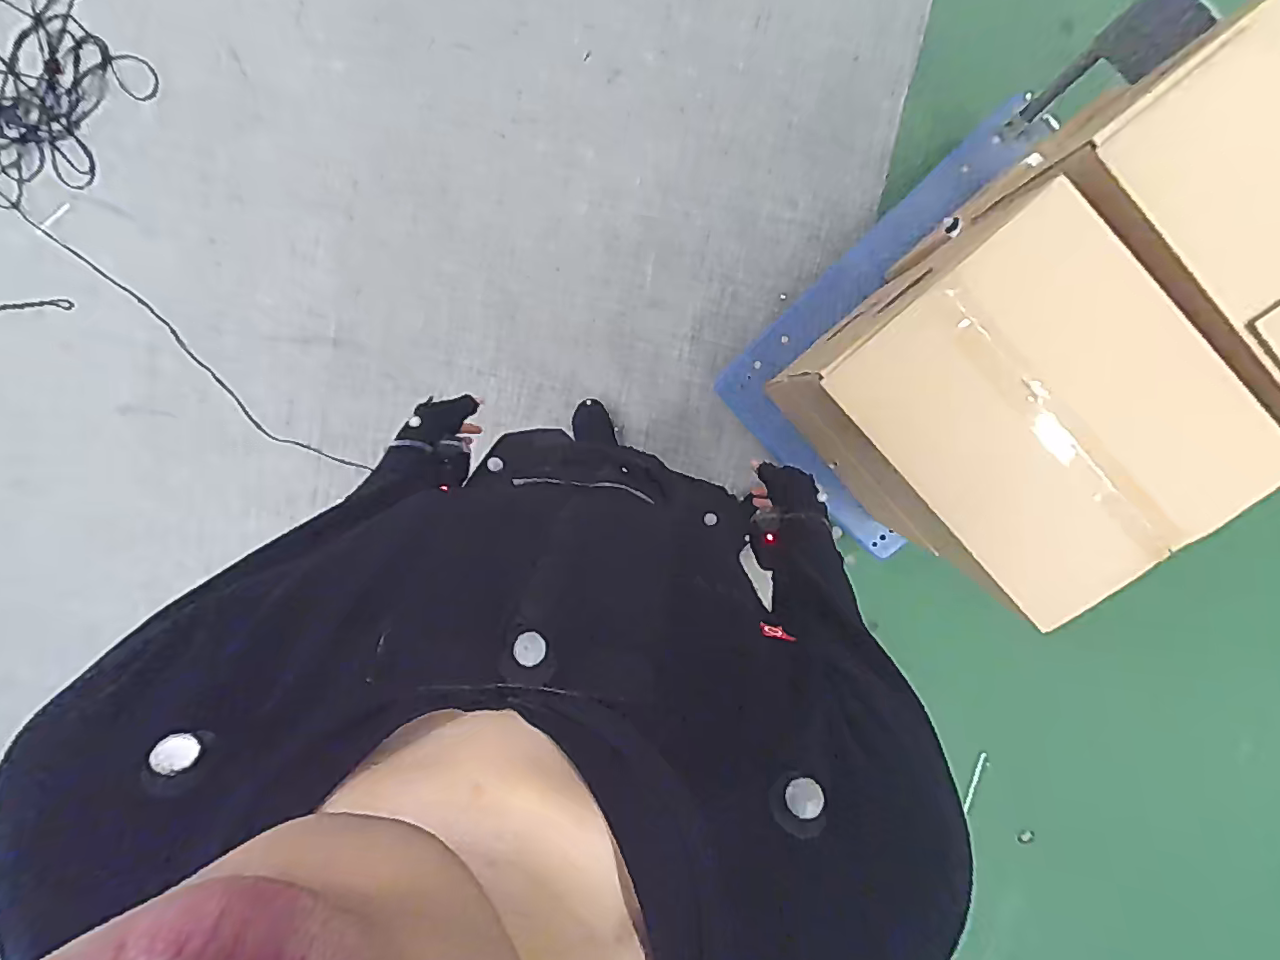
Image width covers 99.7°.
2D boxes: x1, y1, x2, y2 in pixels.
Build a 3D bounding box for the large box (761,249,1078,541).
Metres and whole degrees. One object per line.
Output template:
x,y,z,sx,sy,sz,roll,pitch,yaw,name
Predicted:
0.496,-0.151,1.054,0.320,0.320,0.408,-42,91,7,large box
